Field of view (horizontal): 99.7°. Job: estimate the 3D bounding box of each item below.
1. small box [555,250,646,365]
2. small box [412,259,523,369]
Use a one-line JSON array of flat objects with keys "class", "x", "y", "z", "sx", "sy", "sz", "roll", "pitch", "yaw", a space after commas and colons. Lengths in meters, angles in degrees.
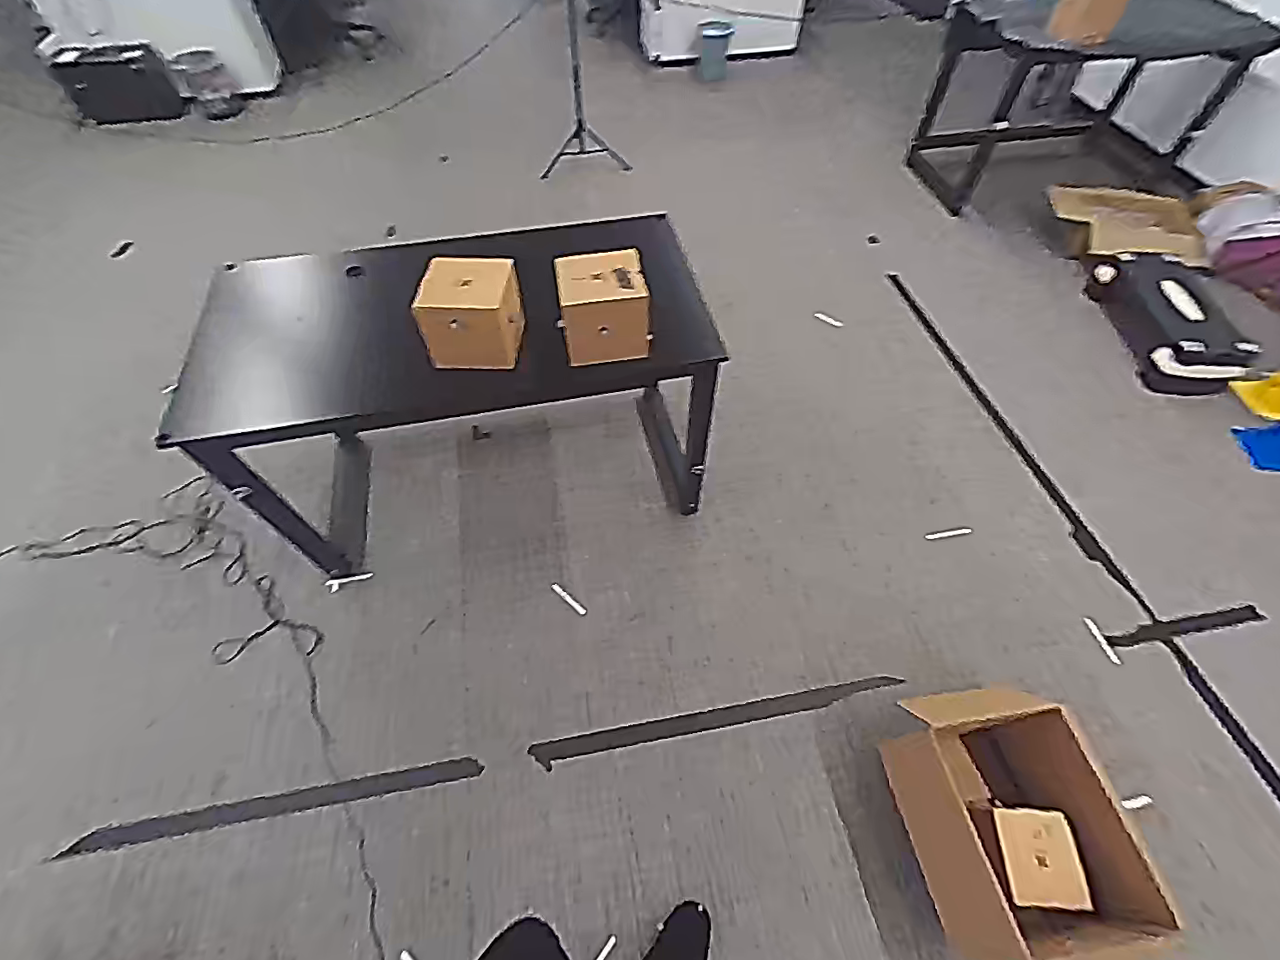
[{"class": "small box", "x": -0.084, "y": -0.375, "z": 1.187, "sx": 0.179, "sy": 0.176, "sz": 0.168, "roll": -9, "pitch": 56, "yaw": -4}, {"class": "small box", "x": -0.364, "y": -0.358, "z": 1.181, "sx": 0.179, "sy": 0.176, "sz": 0.168, "roll": 1, "pitch": 55, "yaw": 2}]
